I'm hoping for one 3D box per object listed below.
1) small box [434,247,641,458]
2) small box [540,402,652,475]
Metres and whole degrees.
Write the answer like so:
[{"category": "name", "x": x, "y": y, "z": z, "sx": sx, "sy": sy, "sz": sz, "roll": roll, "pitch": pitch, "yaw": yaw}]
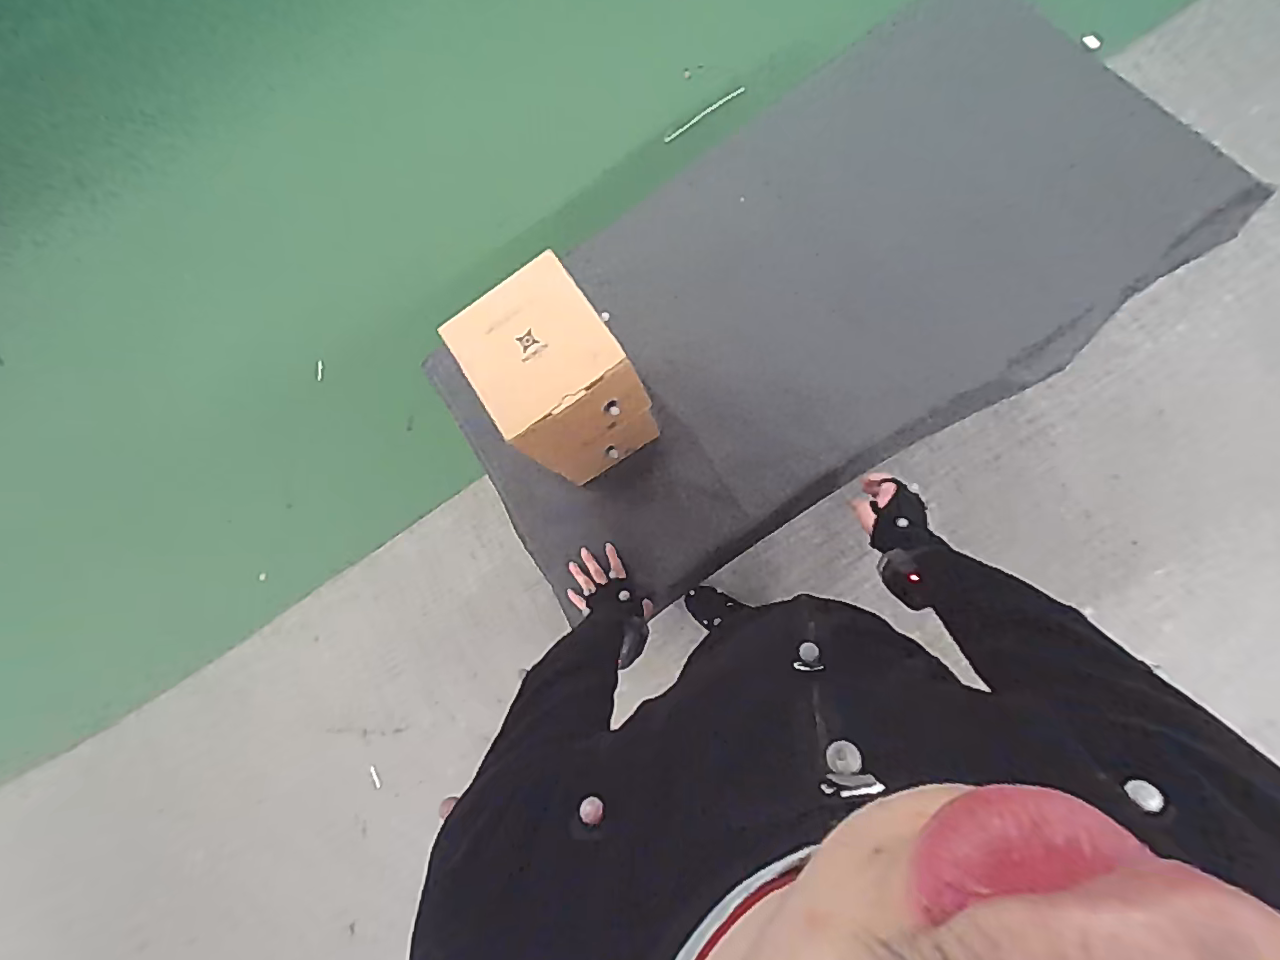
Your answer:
[{"category": "small box", "x": -0.117, "y": -0.144, "z": 0.688, "sx": 0.168, "sy": 0.176, "sz": 0.179, "roll": -35, "pitch": 74, "yaw": 1}, {"category": "small box", "x": -0.097, "y": -0.123, "z": 0.848, "sx": 0.168, "sy": 0.176, "sz": 0.179, "roll": -33, "pitch": 75, "yaw": 2}]
